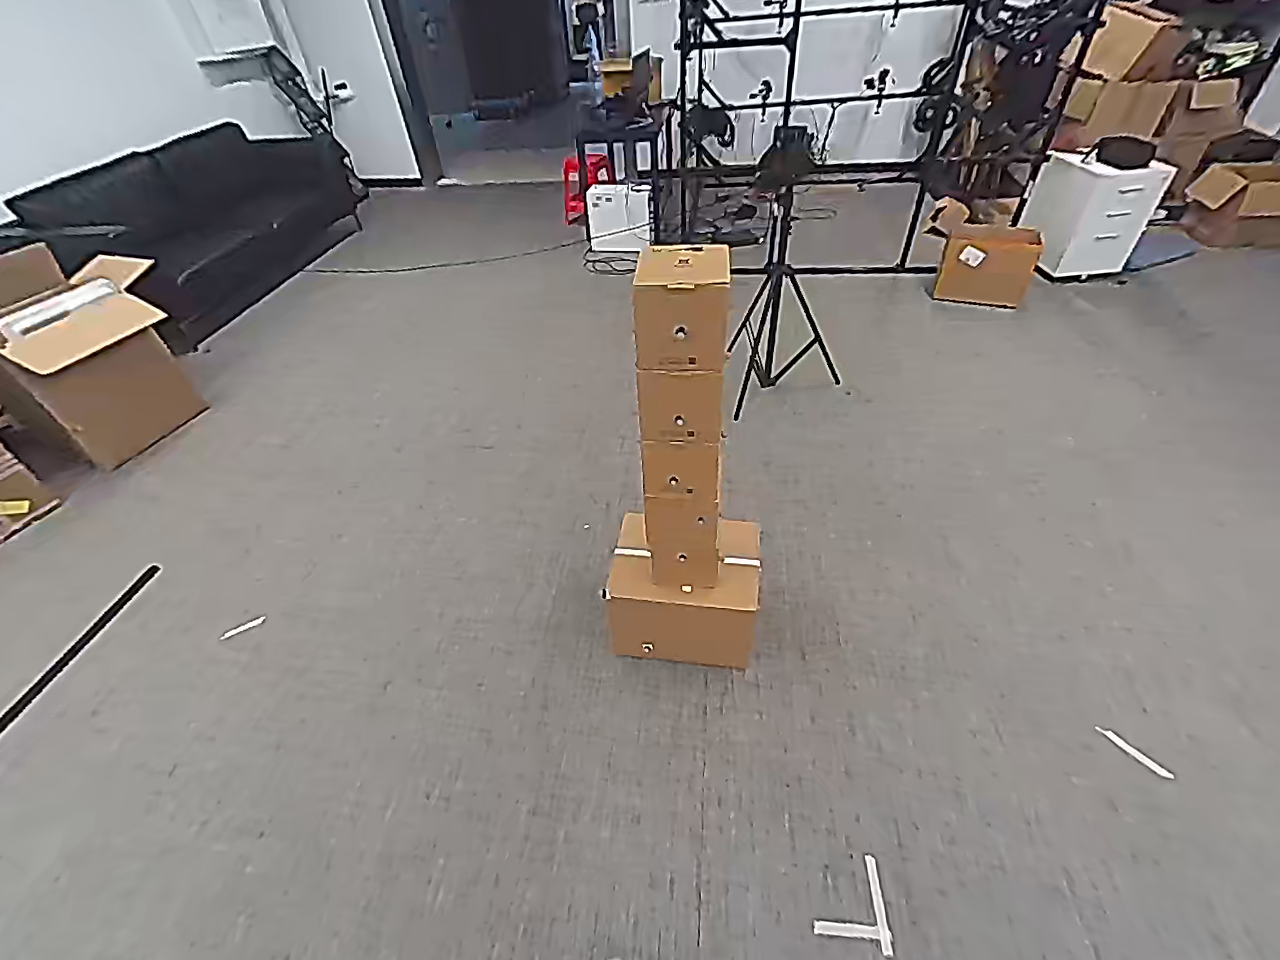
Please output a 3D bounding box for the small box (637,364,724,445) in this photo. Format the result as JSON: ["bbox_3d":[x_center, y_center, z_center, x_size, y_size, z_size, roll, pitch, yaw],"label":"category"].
[{"bbox_3d":[0.088,-0.193,1.125,0.168,0.176,0.179,1,44,7],"label":"small box"}]

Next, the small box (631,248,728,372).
[{"bbox_3d":[0.080,-0.316,1.016,0.168,0.176,0.179,1,45,6],"label":"small box"}]

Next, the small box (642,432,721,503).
[{"bbox_3d":[0.098,-0.071,1.235,0.168,0.176,0.179,2,44,7],"label":"small box"}]

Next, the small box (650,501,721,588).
[{"bbox_3d":[0.125,0.175,1.448,0.179,0.176,0.168,3,44,7],"label":"small box"}]
